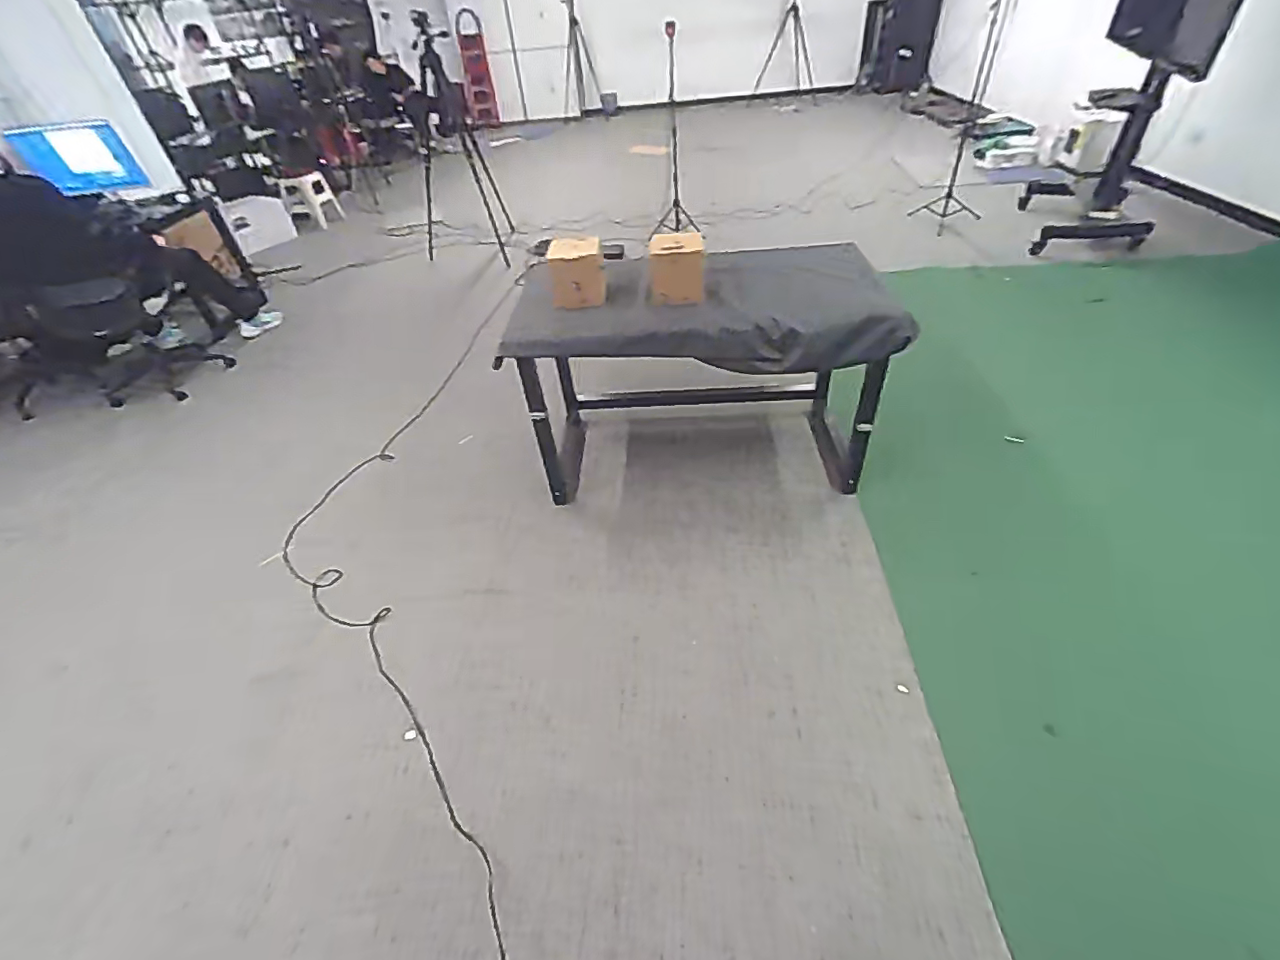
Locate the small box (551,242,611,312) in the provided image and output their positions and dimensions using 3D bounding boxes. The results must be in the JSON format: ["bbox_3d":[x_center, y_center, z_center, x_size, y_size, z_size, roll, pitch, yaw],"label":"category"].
[{"bbox_3d":[-0.190,-0.674,1.811,0.168,0.176,0.179,-3,42,4],"label":"small box"}]

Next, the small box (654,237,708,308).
[{"bbox_3d":[0.138,-0.672,1.762,0.168,0.176,0.179,-1,41,7],"label":"small box"}]
